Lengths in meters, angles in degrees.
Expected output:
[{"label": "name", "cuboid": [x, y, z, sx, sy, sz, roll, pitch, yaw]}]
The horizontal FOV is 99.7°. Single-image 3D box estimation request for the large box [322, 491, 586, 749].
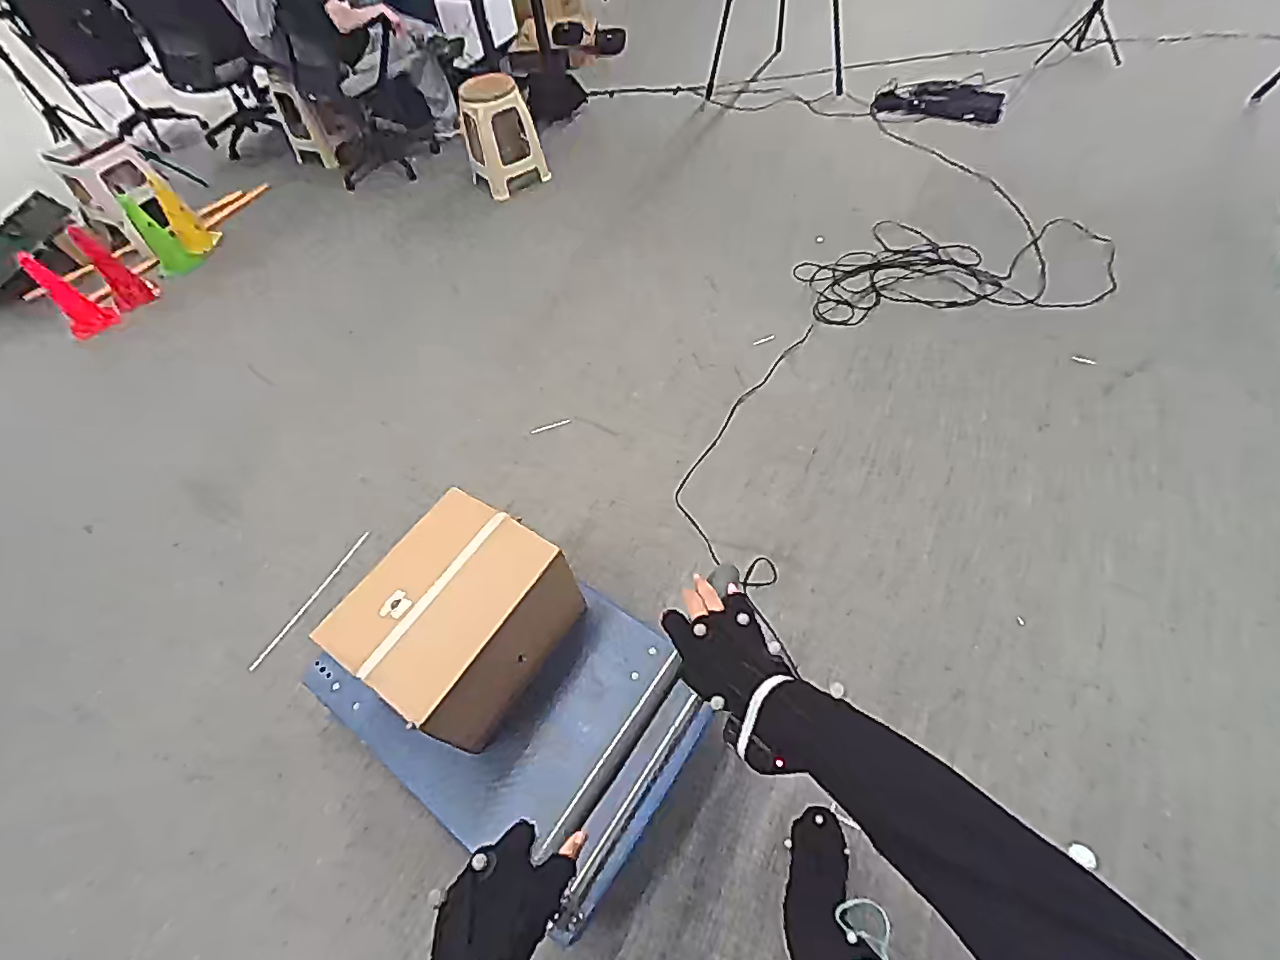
[{"label": "large box", "cuboid": [-0.374, 0.308, 1.200, 0.320, 0.320, 0.408, 25, 63, 23]}]
